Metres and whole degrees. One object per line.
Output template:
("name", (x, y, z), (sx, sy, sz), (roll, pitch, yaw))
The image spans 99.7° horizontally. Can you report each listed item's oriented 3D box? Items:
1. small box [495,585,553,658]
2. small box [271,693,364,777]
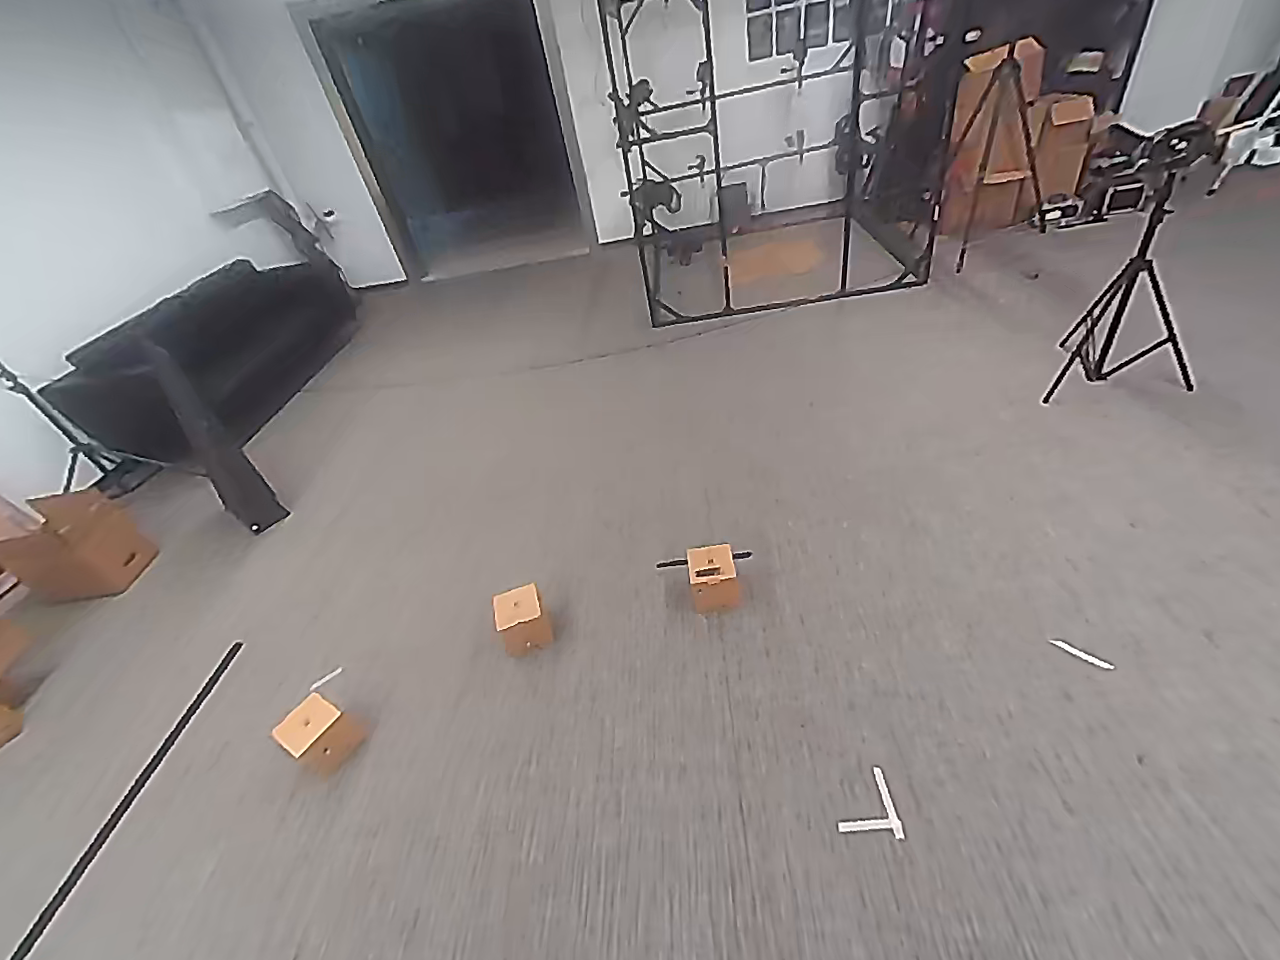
("small box", (-0.437, 0.535, 2.035), (0.168, 0.176, 0.179), (-19, 38, -7))
("small box", (-1.065, 0.854, 1.799), (0.179, 0.176, 0.168), (14, 45, 31))
